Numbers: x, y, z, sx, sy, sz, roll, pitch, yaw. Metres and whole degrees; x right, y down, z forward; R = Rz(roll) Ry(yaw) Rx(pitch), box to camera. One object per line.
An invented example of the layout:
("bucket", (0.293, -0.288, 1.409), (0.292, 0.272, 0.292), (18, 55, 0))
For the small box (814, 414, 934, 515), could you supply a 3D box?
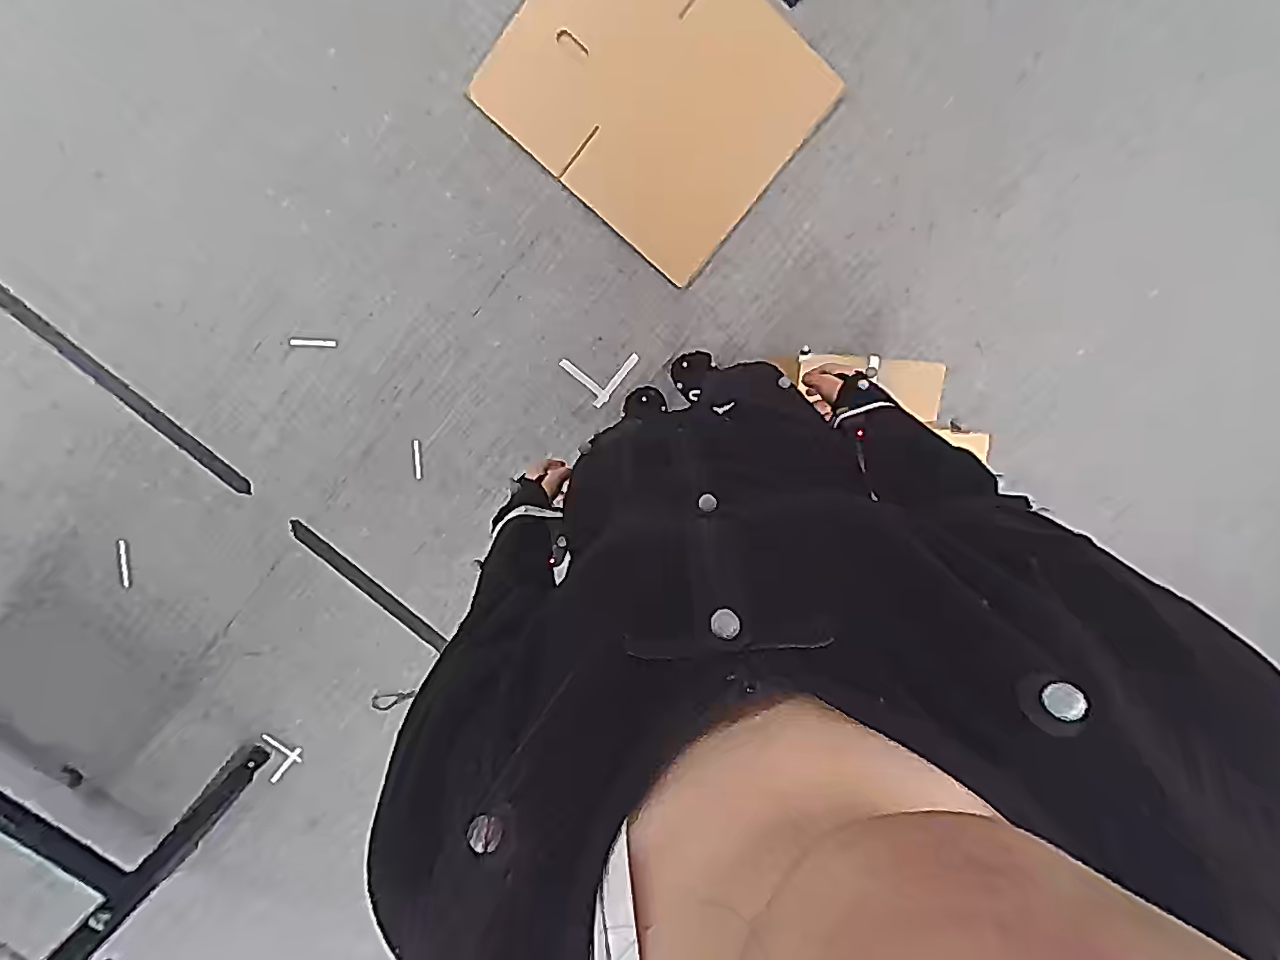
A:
("small box", (0.461, -0.038, 1.093), (0.168, 0.176, 0.179), (2, 103, 1))
